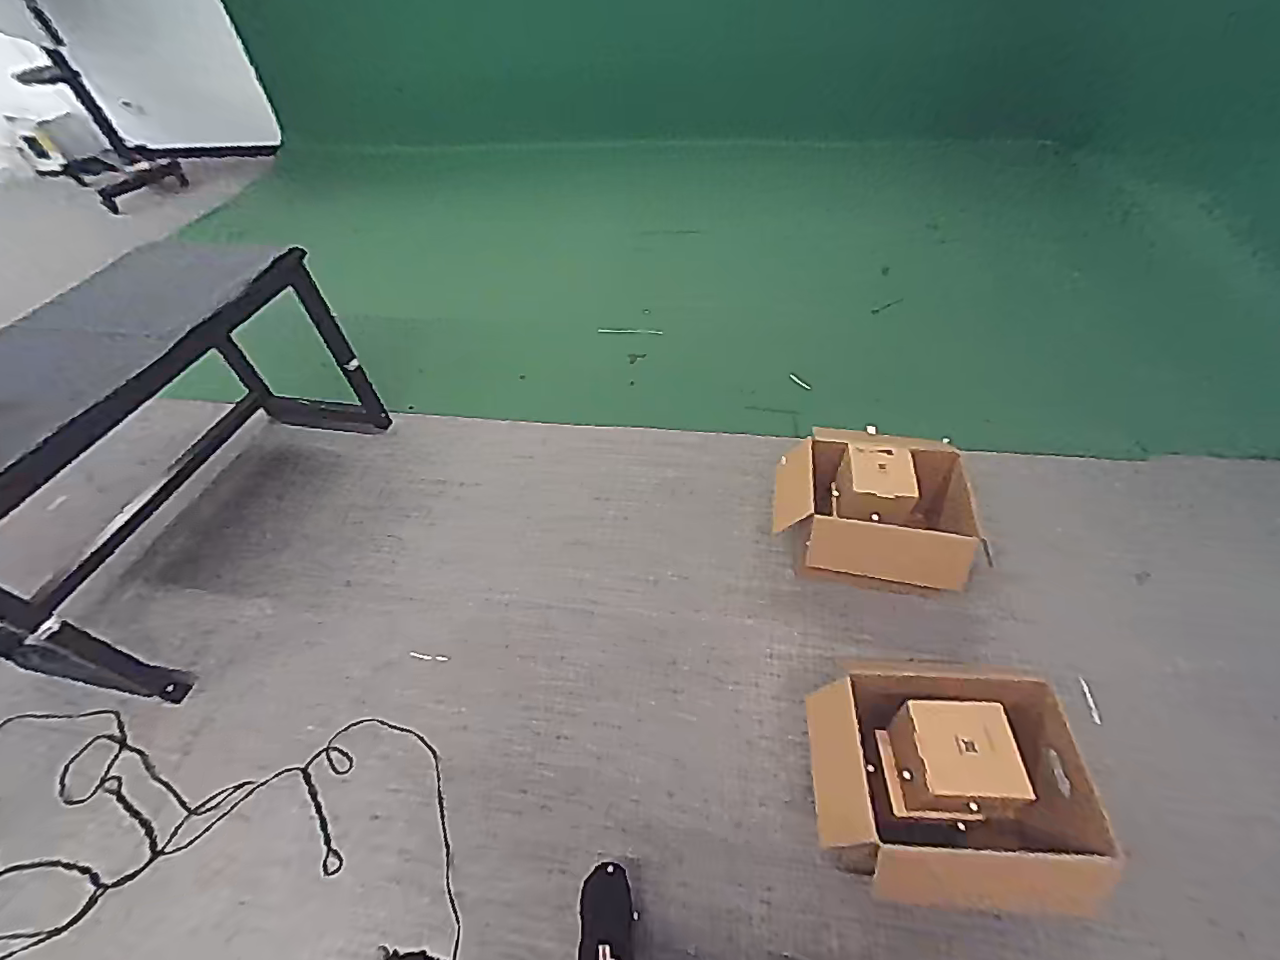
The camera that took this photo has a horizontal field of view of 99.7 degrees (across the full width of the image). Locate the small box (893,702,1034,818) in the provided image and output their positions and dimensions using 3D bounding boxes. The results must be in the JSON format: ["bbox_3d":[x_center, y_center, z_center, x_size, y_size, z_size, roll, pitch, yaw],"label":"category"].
[{"bbox_3d":[0.613,0.550,1.058,0.179,0.176,0.168,-1,49,6],"label":"small box"}]
